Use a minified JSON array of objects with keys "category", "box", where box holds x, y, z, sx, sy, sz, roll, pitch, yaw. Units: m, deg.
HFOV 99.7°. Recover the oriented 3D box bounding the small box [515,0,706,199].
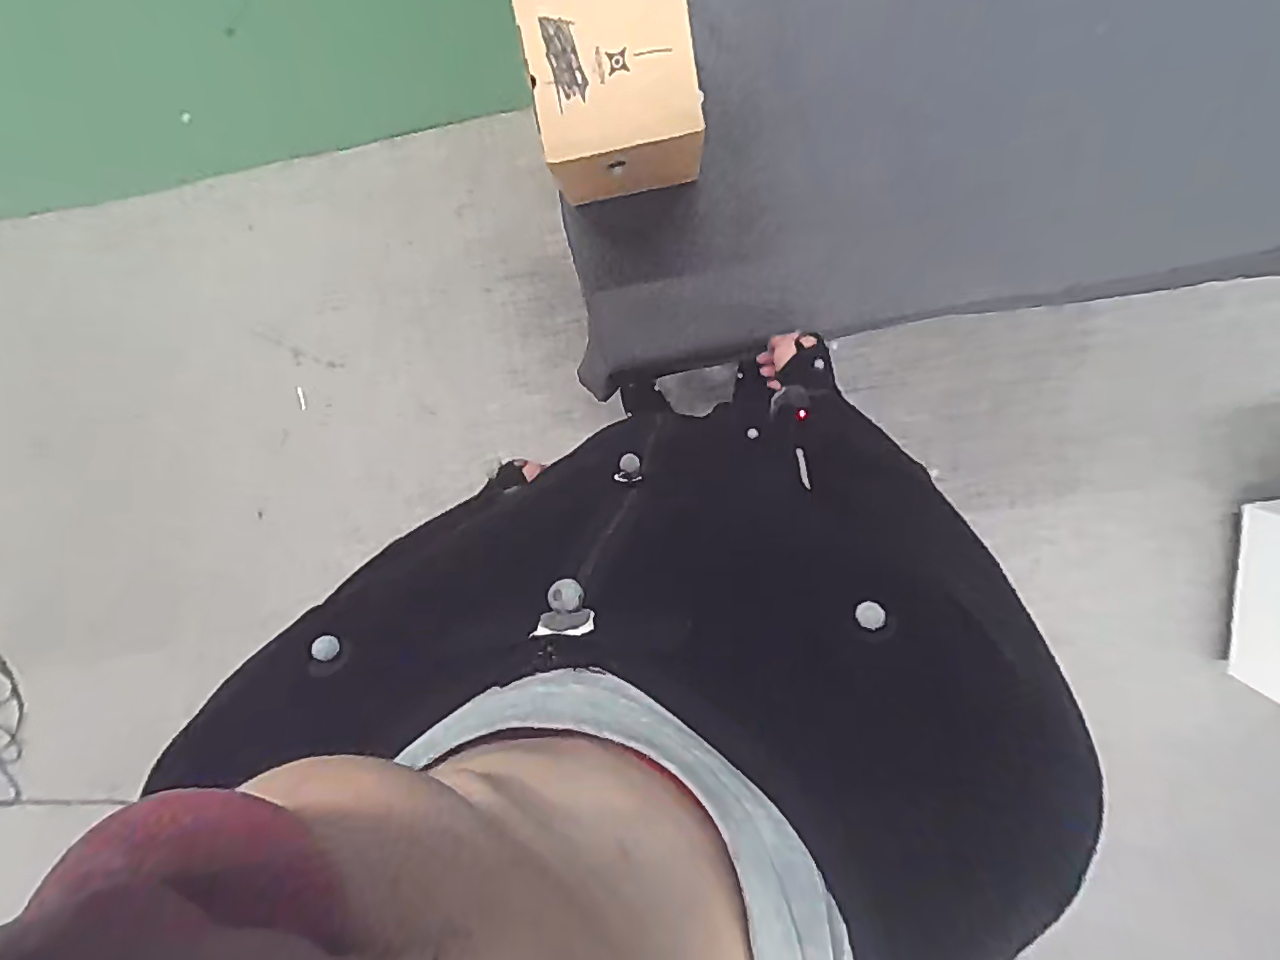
[{"category":"small box","box":[-0.025,-0.445,0.626,0.179,0.176,0.168,-9,104,4]}]
